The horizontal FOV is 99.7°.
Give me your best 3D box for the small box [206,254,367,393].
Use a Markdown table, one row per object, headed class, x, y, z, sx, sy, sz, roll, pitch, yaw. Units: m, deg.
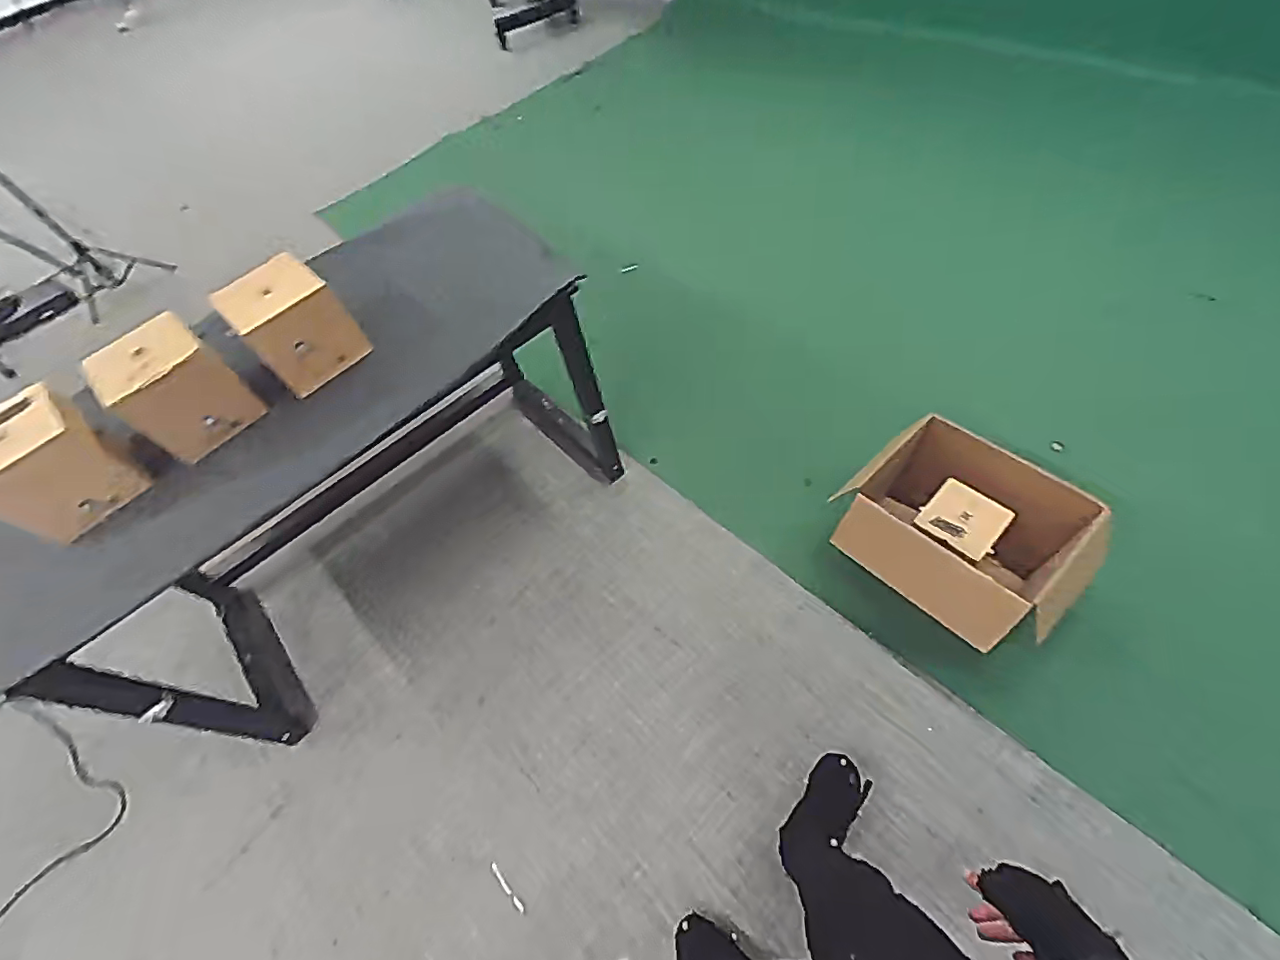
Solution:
| class | x | y | z | sx | sy | sz | roll | pitch | yaw |
| --- | --- | --- | --- | --- | --- | --- | --- | --- | --- |
| small box | -0.672 | -0.295 | 1.047 | 0.179 | 0.176 | 0.168 | 36 | 70 | 28 |
